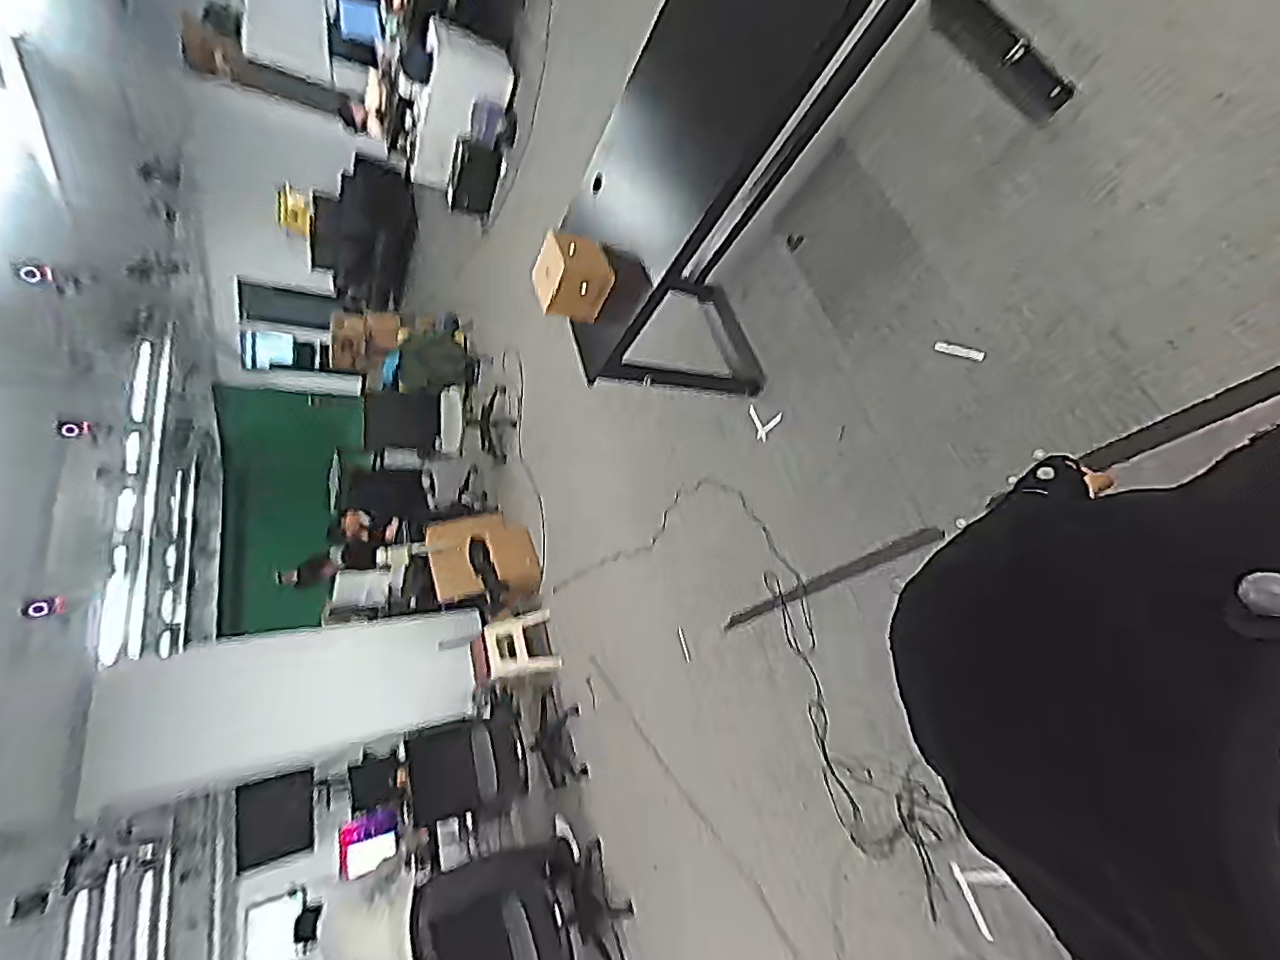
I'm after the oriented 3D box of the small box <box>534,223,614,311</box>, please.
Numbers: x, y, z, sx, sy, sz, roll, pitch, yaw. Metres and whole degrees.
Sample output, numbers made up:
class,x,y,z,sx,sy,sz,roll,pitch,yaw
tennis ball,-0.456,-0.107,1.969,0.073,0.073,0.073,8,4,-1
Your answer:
class,x,y,z,sx,sy,sz,roll,pitch,yaw
small box,-0.196,-0.625,1.608,0.168,0.176,0.179,-50,50,43
